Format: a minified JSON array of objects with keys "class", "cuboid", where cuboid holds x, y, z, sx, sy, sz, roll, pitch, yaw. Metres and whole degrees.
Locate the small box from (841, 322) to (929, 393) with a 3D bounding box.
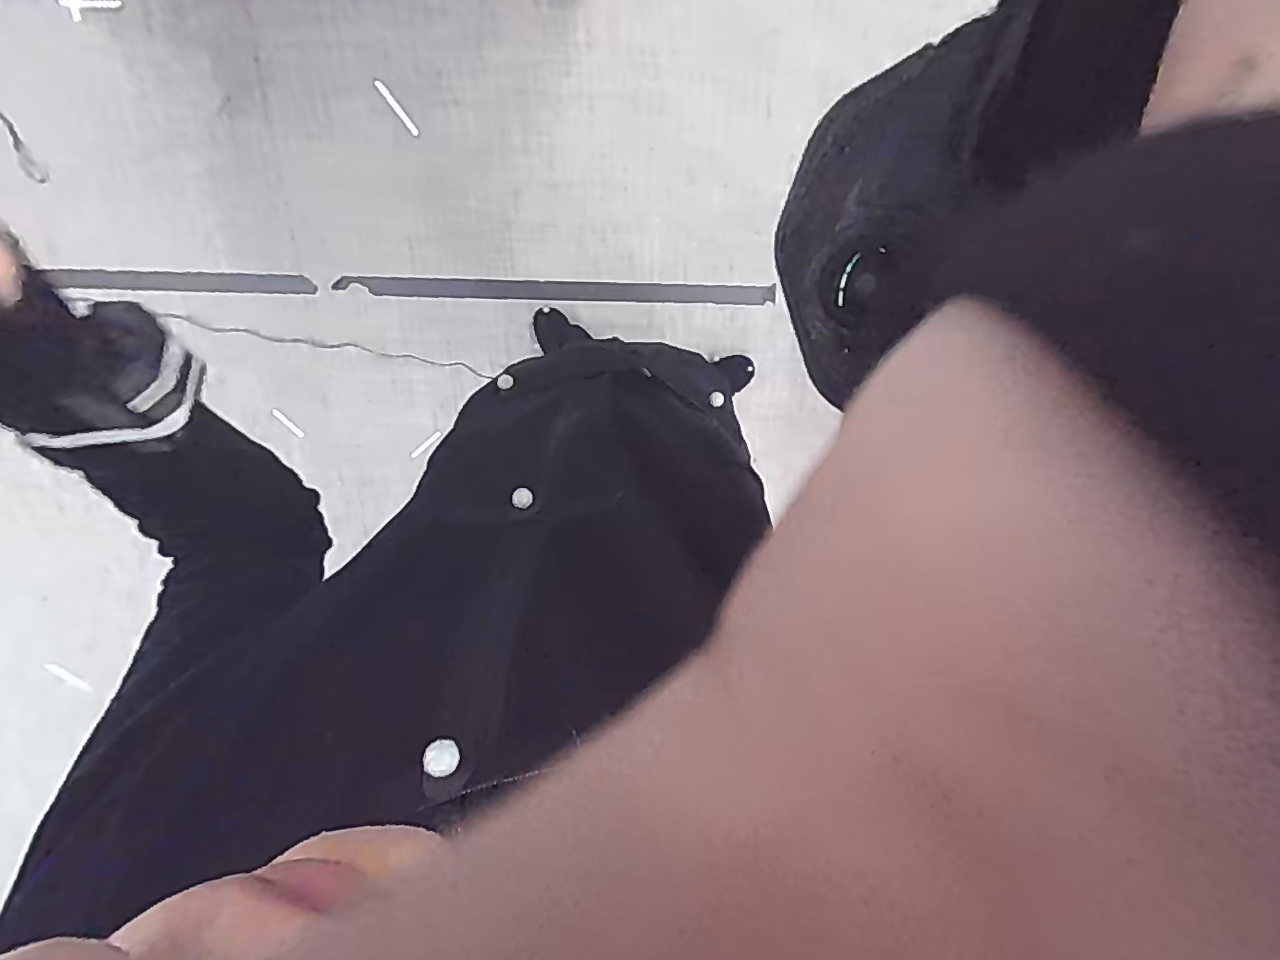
[{"class":"small box","cuboid":[0.660,-0.334,1.466,0.179,0.176,0.168,-4,111,0]}]
